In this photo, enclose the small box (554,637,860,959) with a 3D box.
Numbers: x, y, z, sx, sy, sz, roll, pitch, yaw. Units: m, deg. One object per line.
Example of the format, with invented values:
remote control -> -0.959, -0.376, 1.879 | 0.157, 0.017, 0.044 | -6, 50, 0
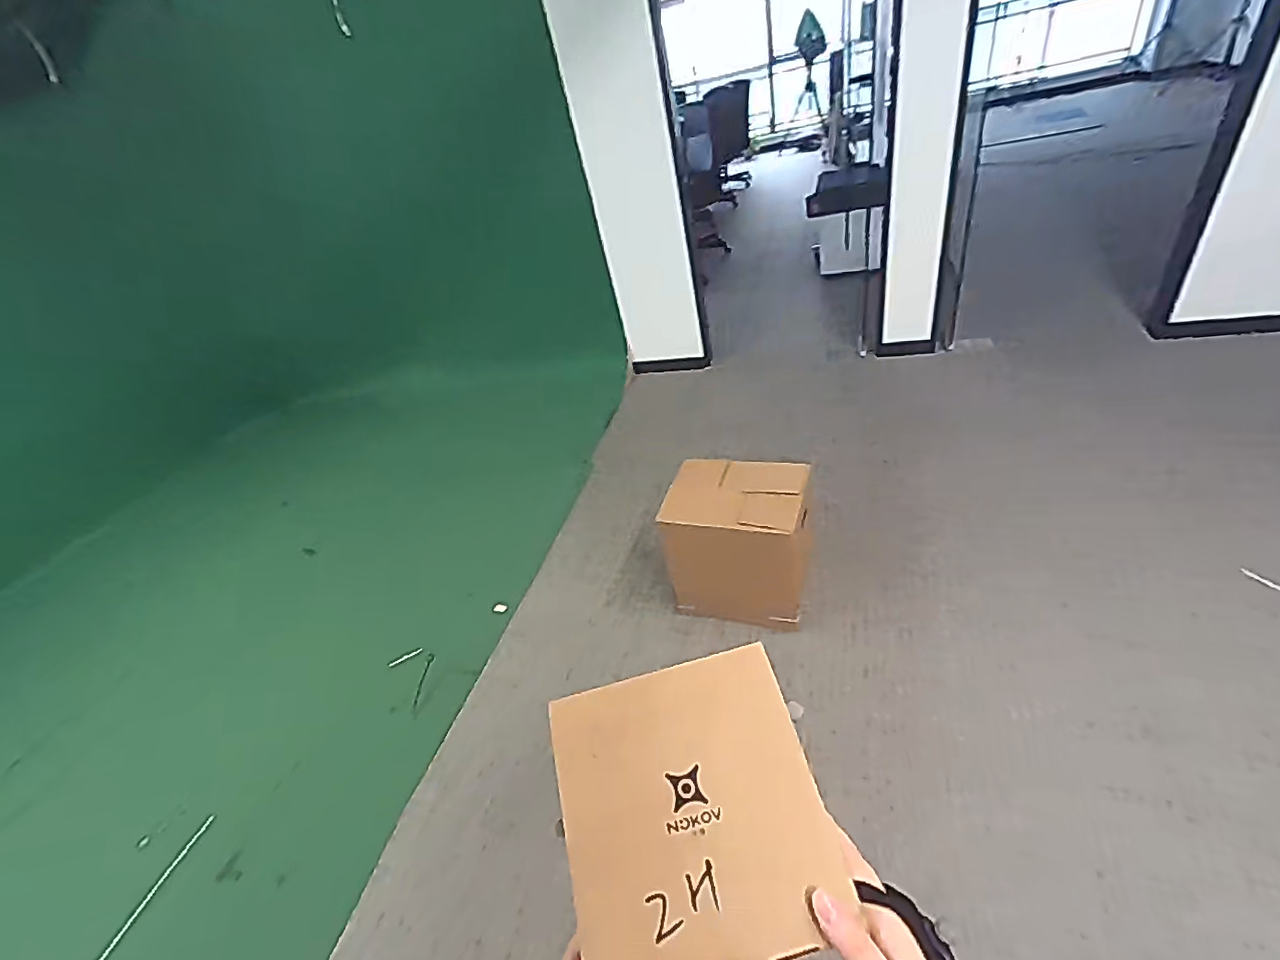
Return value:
small box -> 0.041, 0.250, 0.421 | 0.168, 0.176, 0.179 | -15, 55, -1
